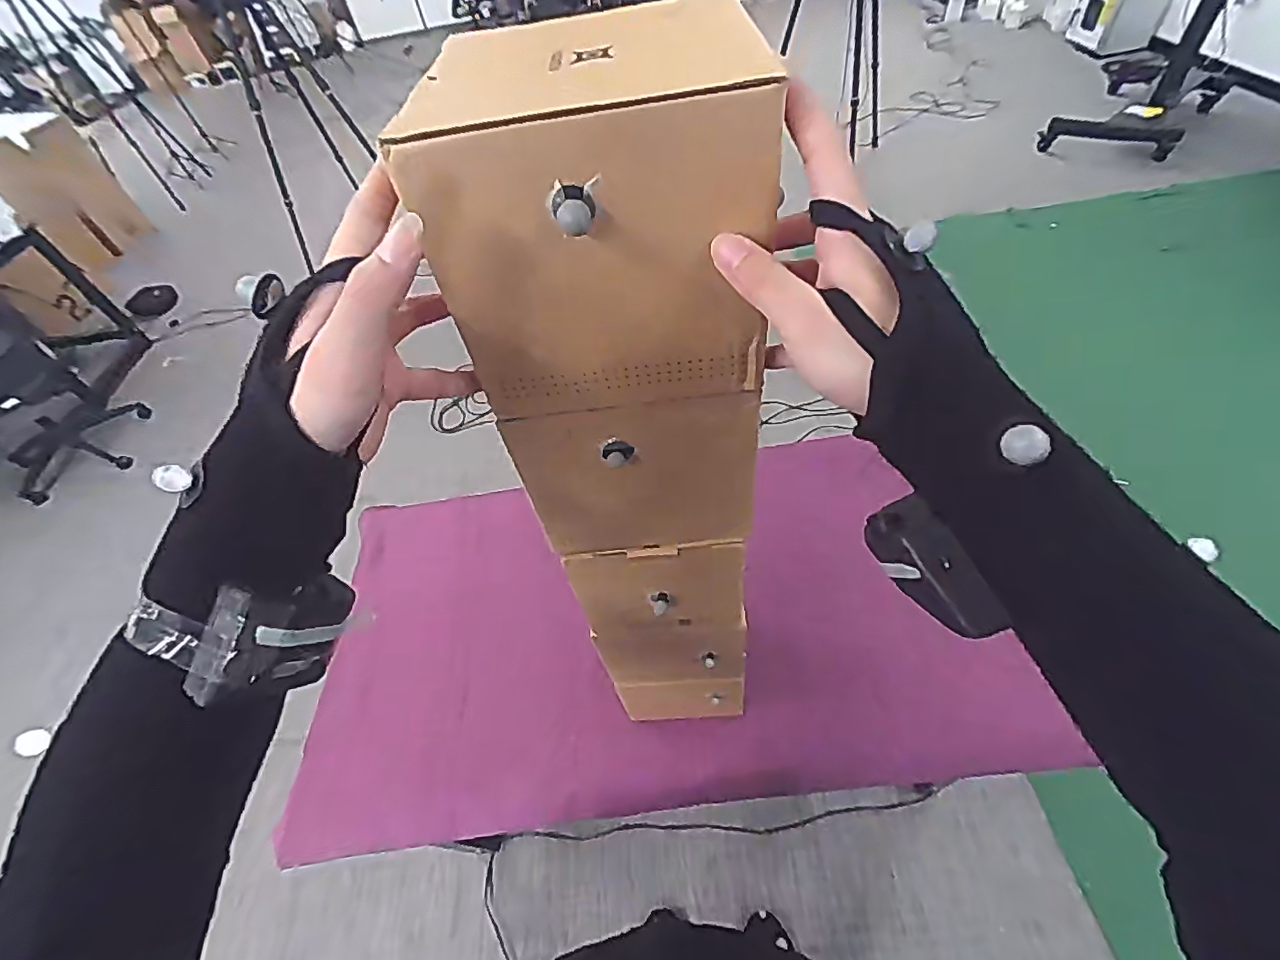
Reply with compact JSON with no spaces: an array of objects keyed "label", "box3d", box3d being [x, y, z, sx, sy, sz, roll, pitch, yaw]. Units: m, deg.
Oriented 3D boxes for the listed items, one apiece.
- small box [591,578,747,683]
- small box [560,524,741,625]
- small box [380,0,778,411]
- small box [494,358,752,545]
[{"label":"small box","box3d":[0.042,0.155,0.708,0.179,0.176,0.168,-5,50,6]},{"label":"small box","box3d":[0.019,0.048,0.588,0.168,0.176,0.179,-5,51,5]},{"label":"small box","box3d":[-0.020,-0.163,0.340,0.179,0.176,0.168,-7,50,5]},{"label":"small box","box3d":[-0.003,-0.058,0.464,0.179,0.176,0.168,-6,50,4]}]
